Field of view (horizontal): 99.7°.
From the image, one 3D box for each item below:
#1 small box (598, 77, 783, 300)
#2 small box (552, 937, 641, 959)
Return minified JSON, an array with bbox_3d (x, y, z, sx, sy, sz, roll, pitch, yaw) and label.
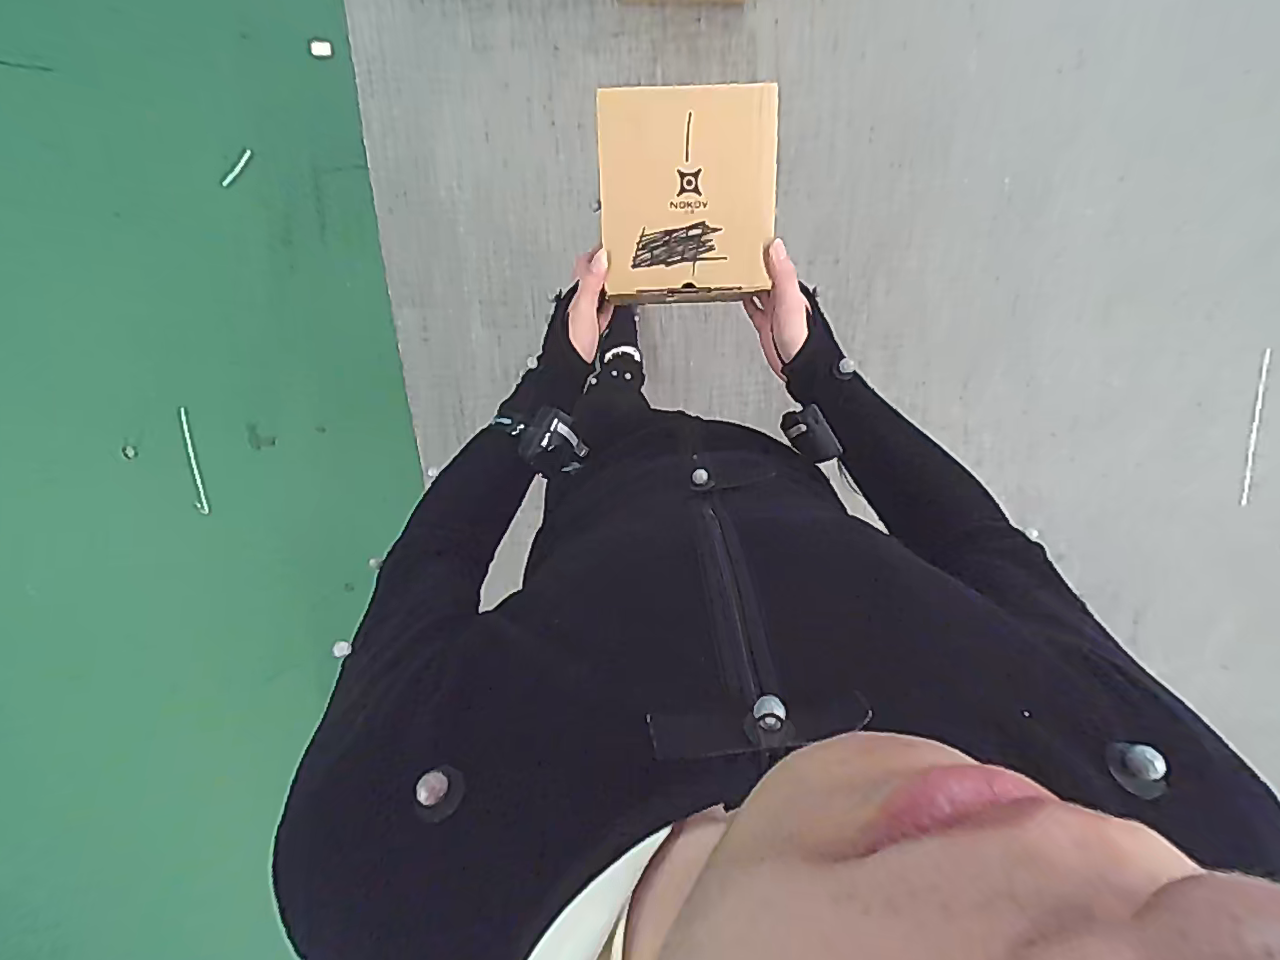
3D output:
[{"bbox_3d":[0.045,-0.287,0.572,0.168,0.176,0.179,-2,103,-1],"label":"small box"},{"bbox_3d":[-0.082,0.997,1.000,0.179,0.176,0.168,-5,102,-1],"label":"small box"}]
